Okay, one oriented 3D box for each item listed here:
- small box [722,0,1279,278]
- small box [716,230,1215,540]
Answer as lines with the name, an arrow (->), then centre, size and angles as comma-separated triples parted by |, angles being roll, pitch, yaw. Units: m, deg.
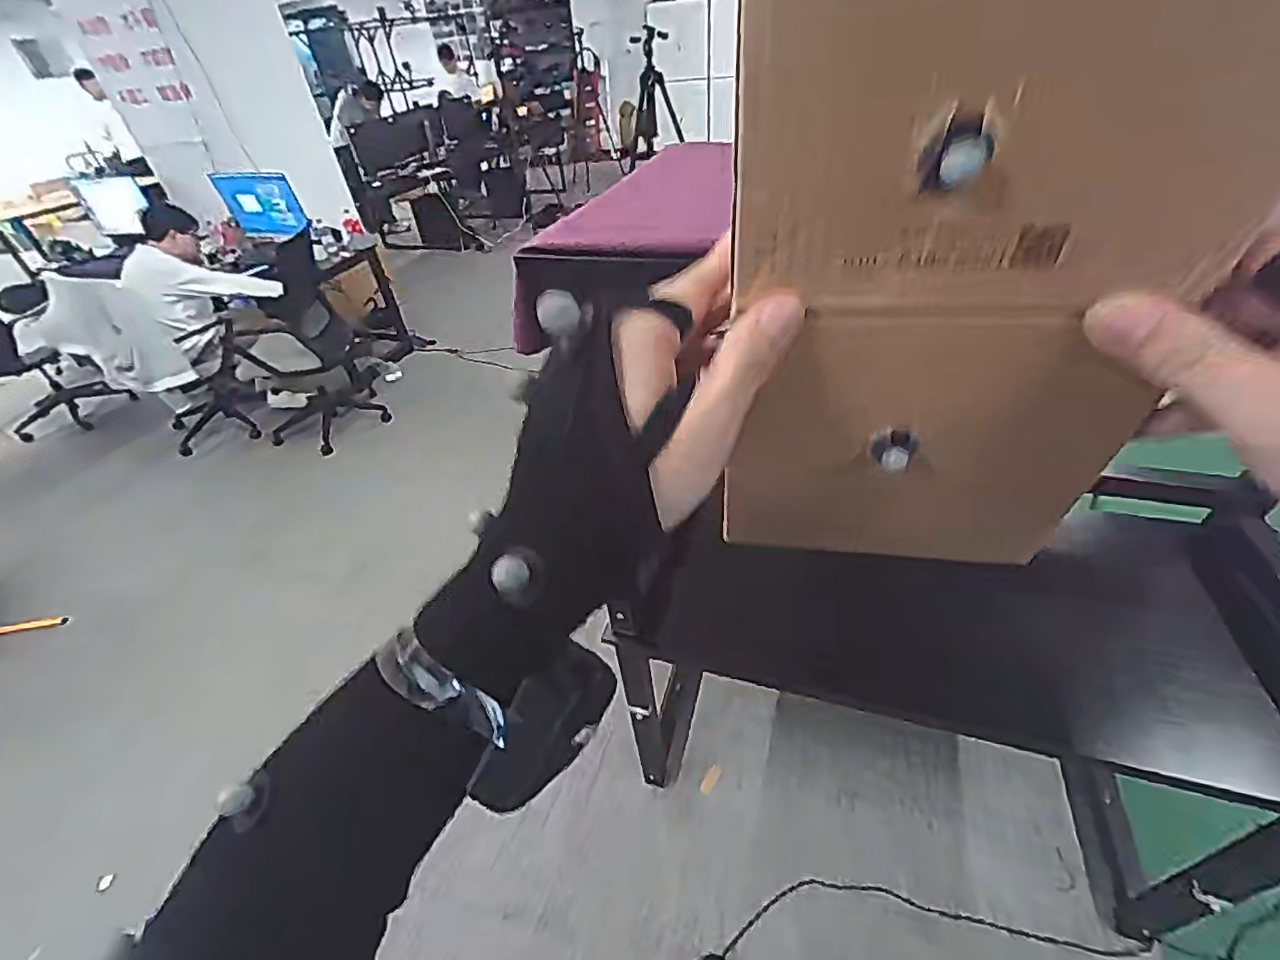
small box -> 0.119, -0.192, 0.196 | 0.168, 0.176, 0.179 | 3, 51, 10
small box -> 0.138, -0.080, 0.312 | 0.179, 0.176, 0.168 | 3, 50, 11
